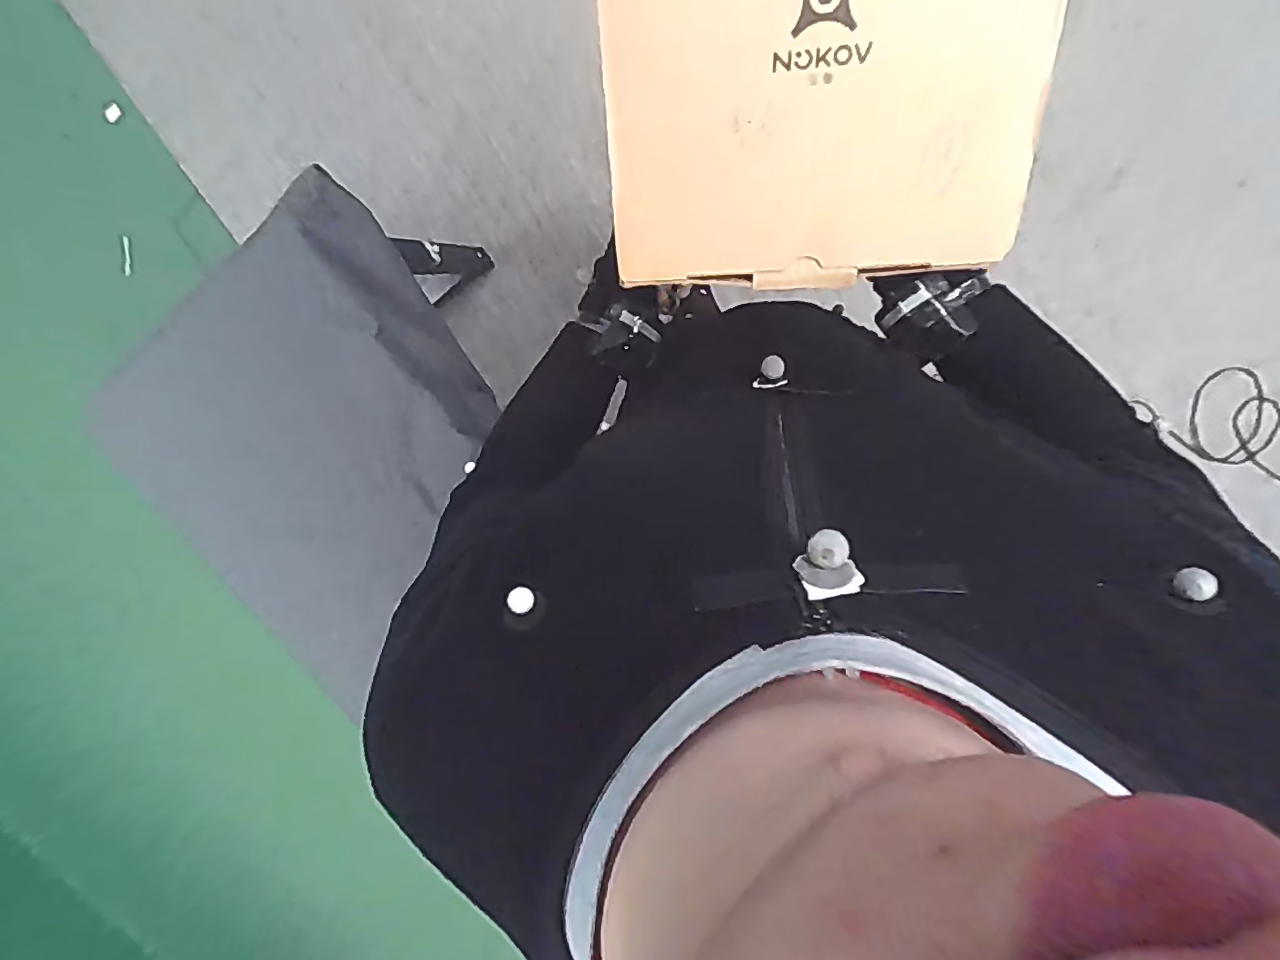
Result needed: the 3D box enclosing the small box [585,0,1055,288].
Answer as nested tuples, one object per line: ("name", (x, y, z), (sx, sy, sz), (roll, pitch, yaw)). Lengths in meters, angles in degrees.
("small box", (0.071, -0.203, 0.266), (0.168, 0.176, 0.179), (0, 119, 7))
